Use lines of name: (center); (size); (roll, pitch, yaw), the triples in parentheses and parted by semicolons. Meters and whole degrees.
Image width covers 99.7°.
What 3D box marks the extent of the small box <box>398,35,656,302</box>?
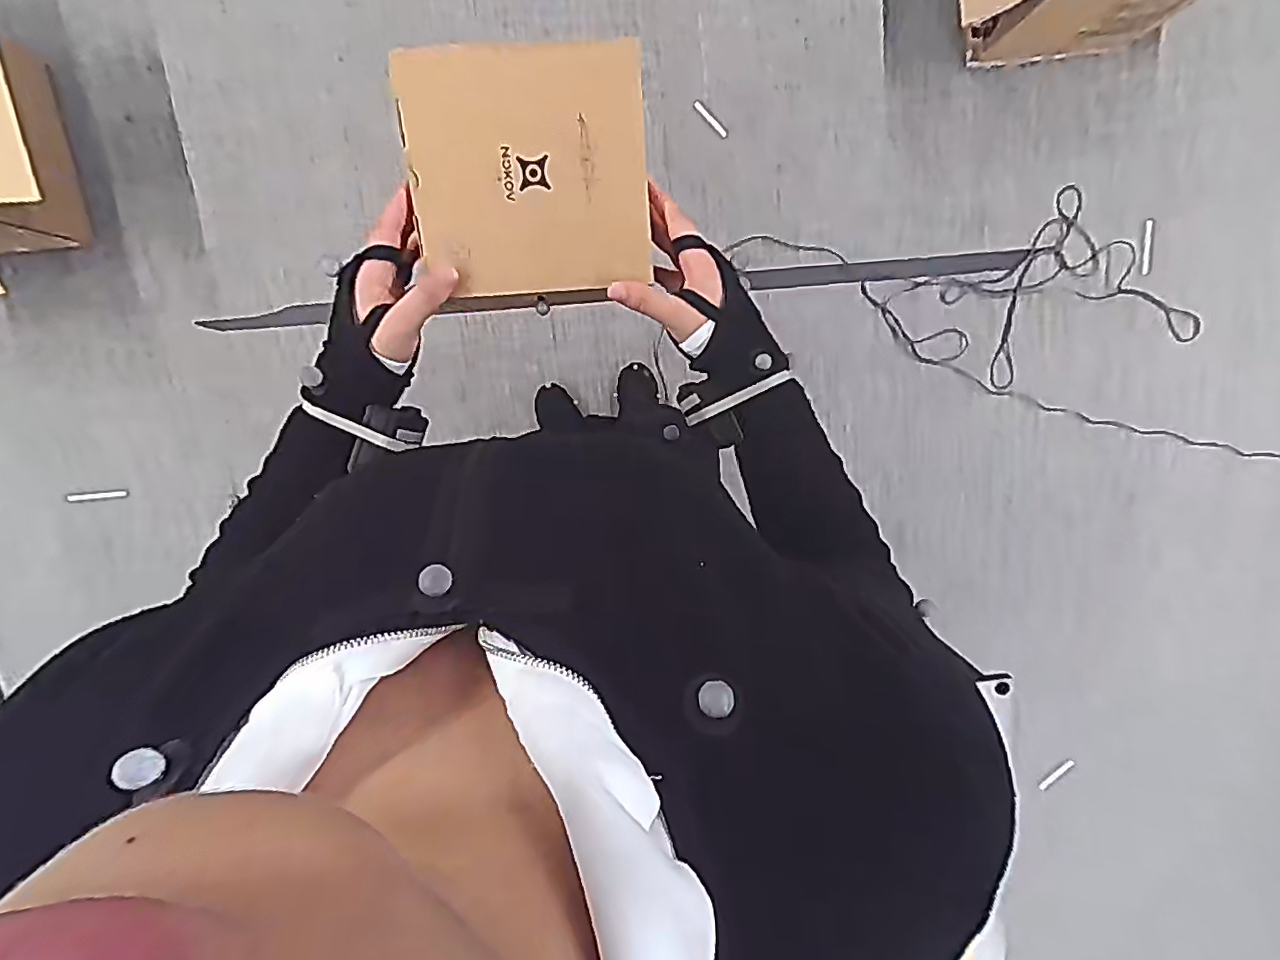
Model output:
small box: (-0.084, -0.252, 0.478); (0.179, 0.176, 0.168); (-6, 107, -3)
